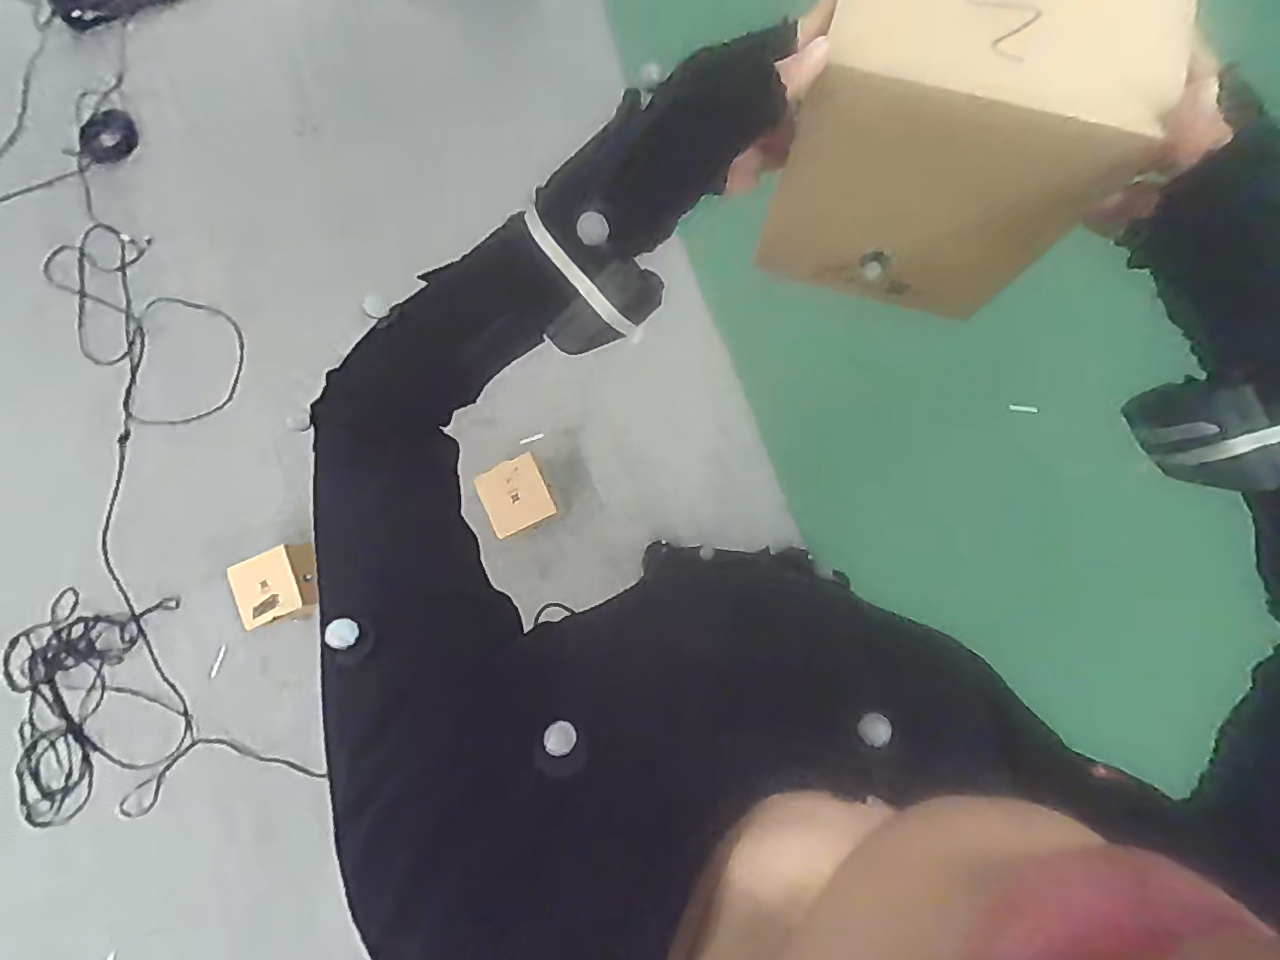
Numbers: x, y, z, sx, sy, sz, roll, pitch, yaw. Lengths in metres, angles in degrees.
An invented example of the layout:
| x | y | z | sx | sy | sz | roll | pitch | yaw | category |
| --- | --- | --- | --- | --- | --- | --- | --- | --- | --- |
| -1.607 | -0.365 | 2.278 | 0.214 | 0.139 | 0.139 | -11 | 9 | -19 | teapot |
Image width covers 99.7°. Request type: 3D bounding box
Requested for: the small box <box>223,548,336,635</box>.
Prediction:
| x | y | z | sx | sy | sz | roll | pitch | yaw | category |
| --- | --- | --- | --- | --- | --- | --- | --- | --- | --- |
| -0.955 | 0.290 | 1.449 | 0.168 | 0.176 | 0.179 | -23 | 83 | 1 | small box |

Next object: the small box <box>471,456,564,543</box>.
| x | y | z | sx | sy | sz | roll | pitch | yaw | category |
| --- | --- | --- | --- | --- | --- | --- | --- | --- | --- |
| -0.316 | 0.054 | 1.439 | 0.168 | 0.176 | 0.179 | -25 | 84 | -1 | small box |
